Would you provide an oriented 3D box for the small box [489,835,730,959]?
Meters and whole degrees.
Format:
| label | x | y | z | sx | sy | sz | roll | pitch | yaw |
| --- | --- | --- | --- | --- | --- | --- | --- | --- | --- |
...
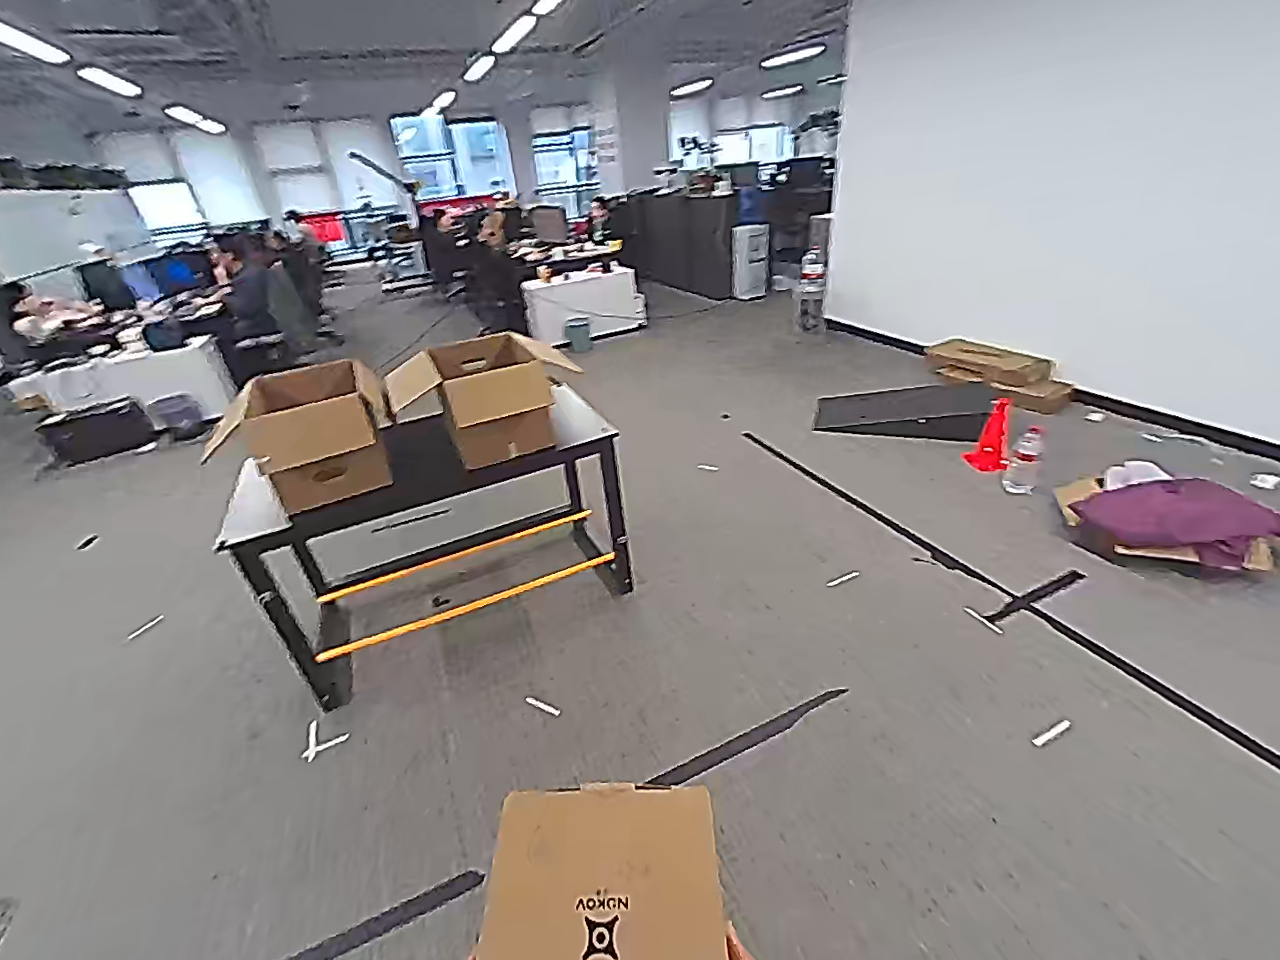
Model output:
| label | x | y | z | sx | sy | sz | roll | pitch | yaw |
| --- | --- | --- | --- | --- | --- | --- | --- | --- | --- |
| small box | -0.019 | 0.395 | 0.397 | 0.168 | 0.176 | 0.179 | -2 | 35 | 0 |
